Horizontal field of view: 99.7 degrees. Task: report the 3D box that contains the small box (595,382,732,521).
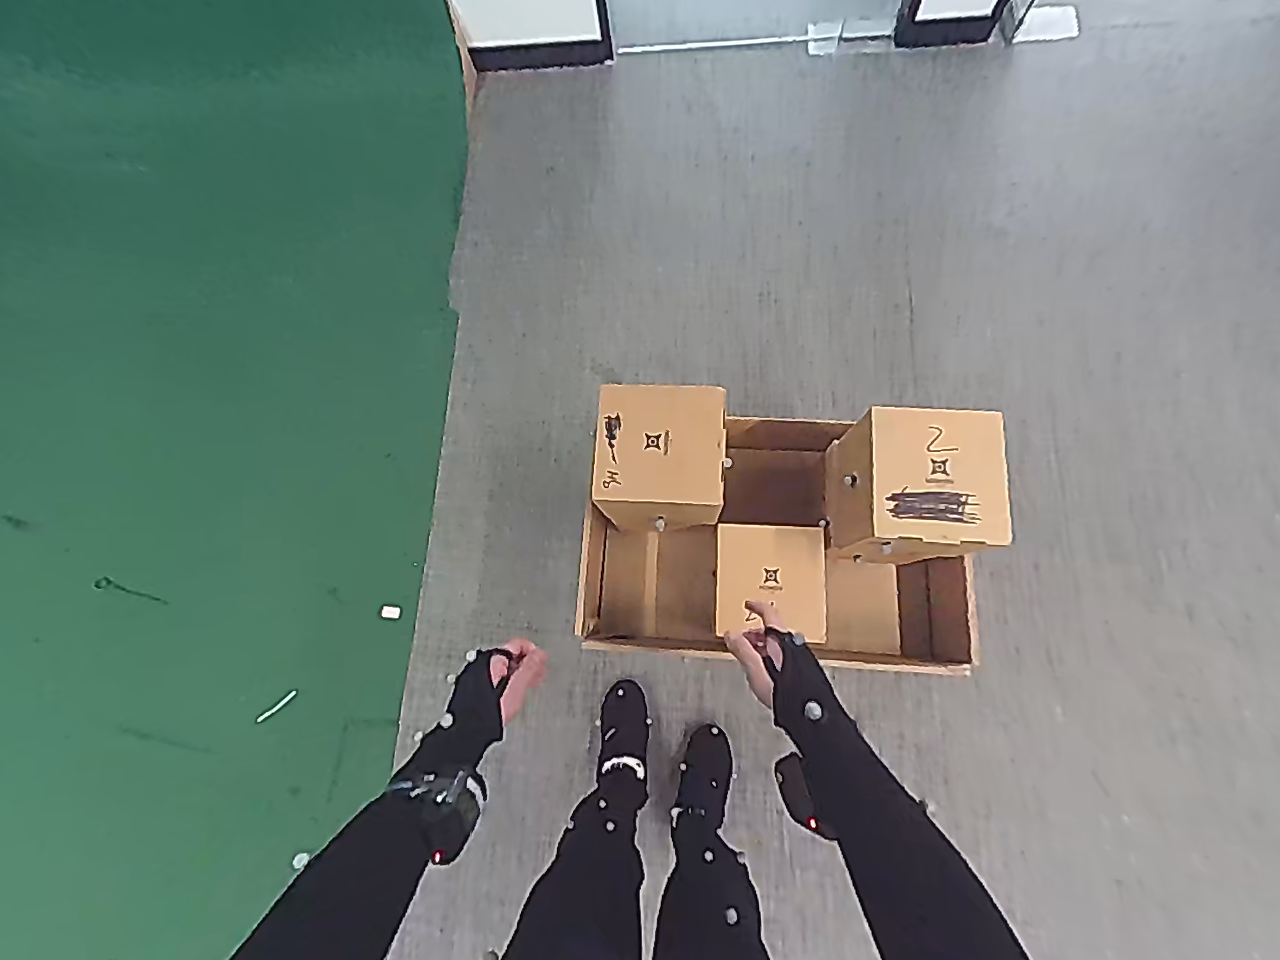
[{"bbox_3d":[0.037,-0.034,0.801,0.179,0.176,0.168,3,77,5],"label":"small box"}]
